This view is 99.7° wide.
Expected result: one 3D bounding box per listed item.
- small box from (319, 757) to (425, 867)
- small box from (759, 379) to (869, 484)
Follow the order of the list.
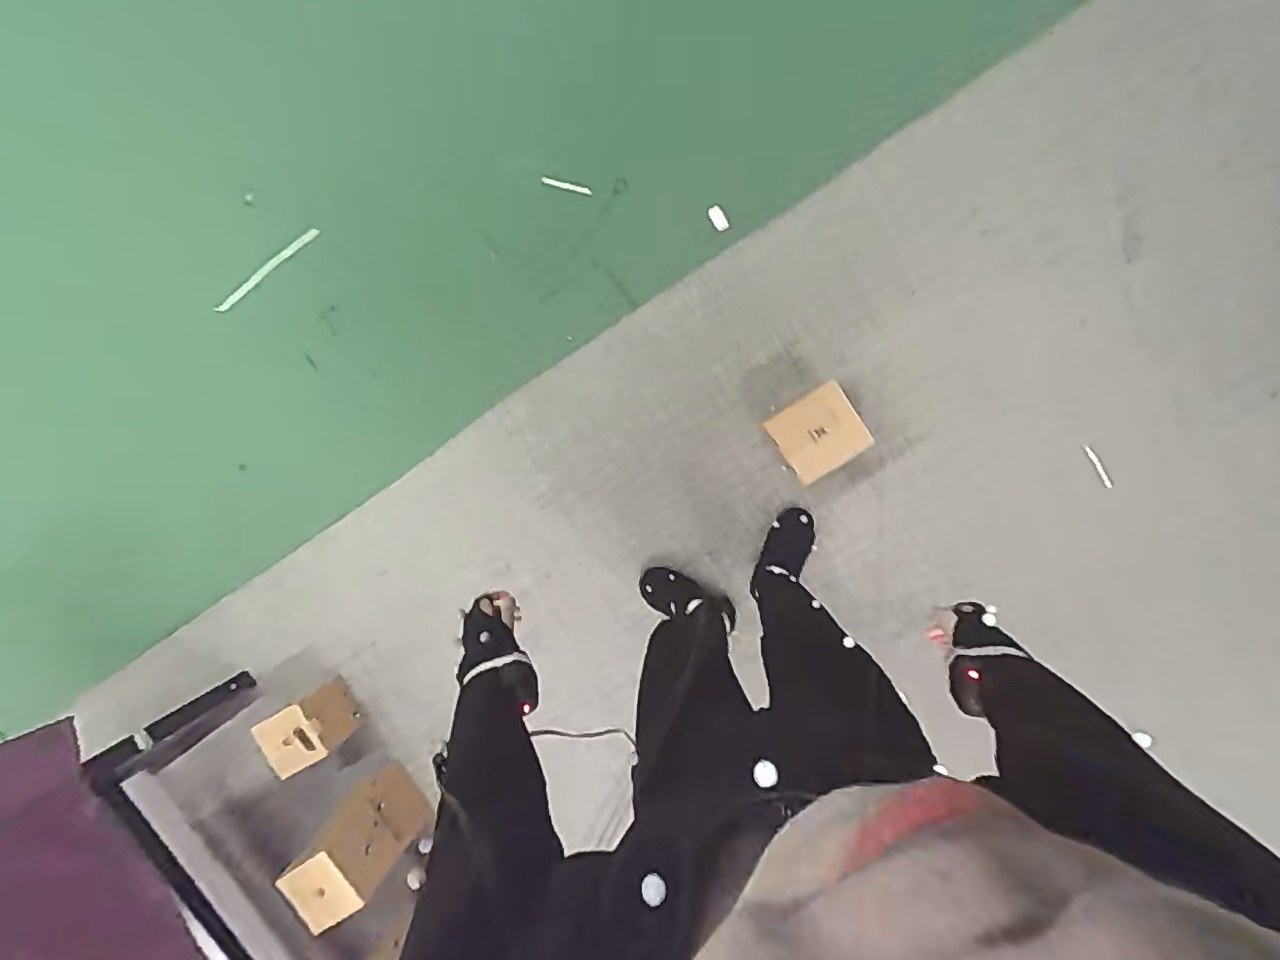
[{"bbox_3d":[-0.756,0.942,1.546,0.168,0.176,0.179,-33,91,11],"label":"small box"},{"bbox_3d":[0.385,-0.112,1.234,0.179,0.176,0.168,-33,93,10],"label":"small box"}]
